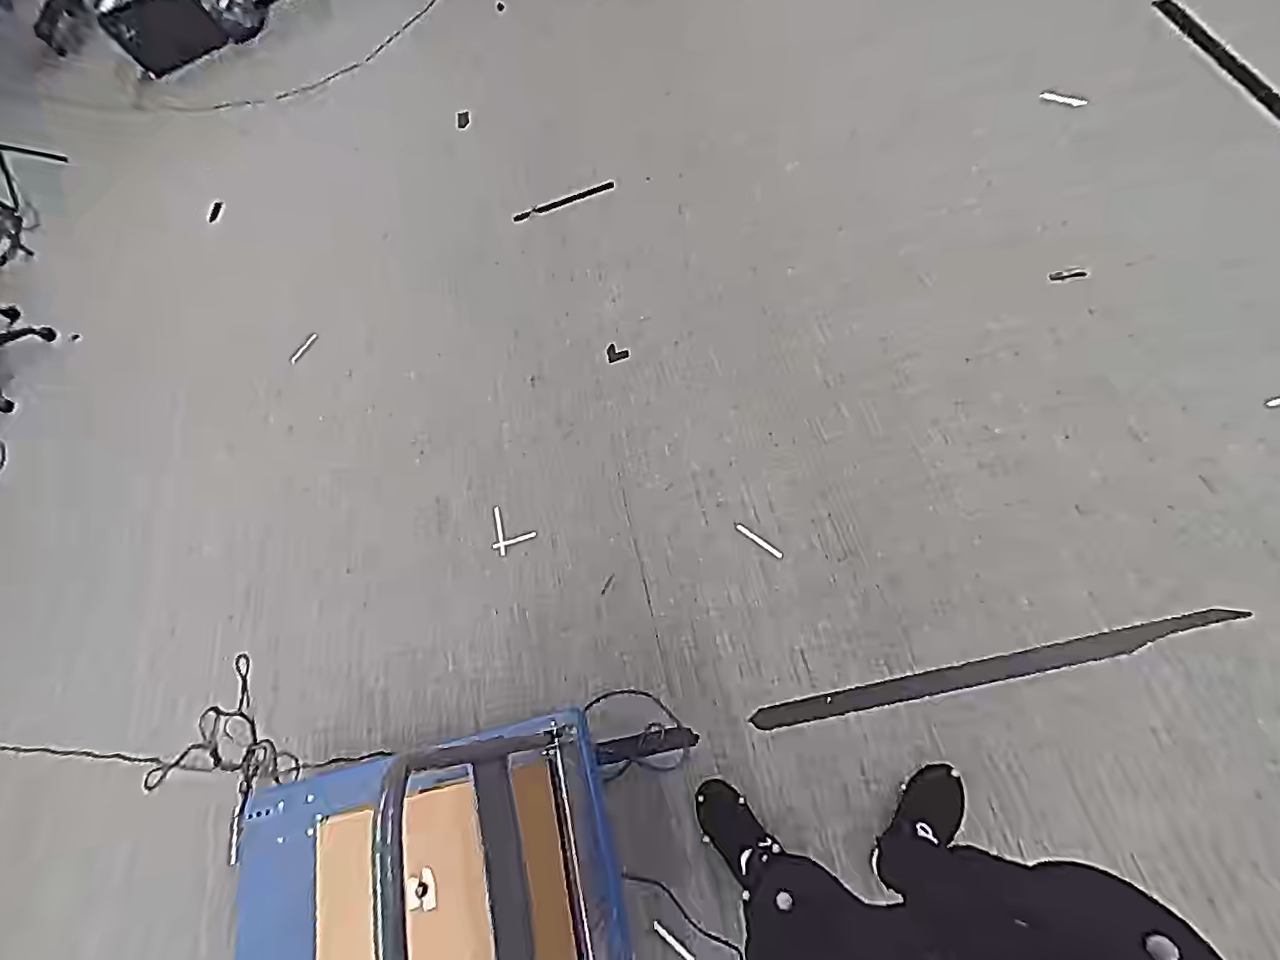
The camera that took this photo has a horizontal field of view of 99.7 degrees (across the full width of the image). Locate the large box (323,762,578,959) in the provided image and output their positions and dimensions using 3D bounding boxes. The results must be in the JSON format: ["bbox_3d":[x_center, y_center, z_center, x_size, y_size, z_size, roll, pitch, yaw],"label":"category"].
[{"bbox_3d":[-0.333,0.784,0.989,0.320,0.320,0.408,-18,66,6],"label":"large box"}]
